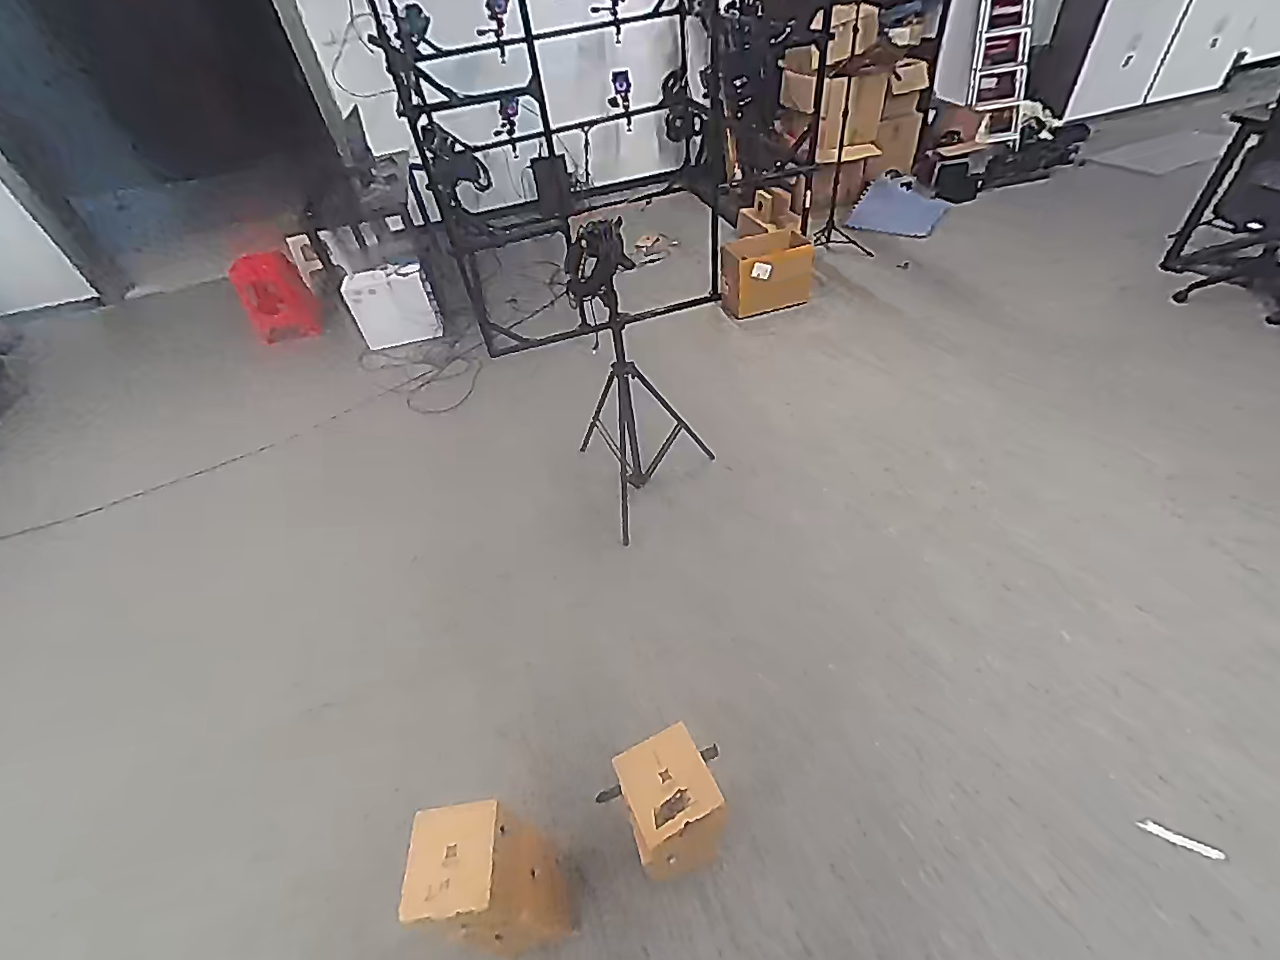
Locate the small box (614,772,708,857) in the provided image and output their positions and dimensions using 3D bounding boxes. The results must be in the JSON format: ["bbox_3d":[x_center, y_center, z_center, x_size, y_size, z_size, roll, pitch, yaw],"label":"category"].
[{"bbox_3d":[0.042,0.690,1.193,0.168,0.176,0.179,-17,45,-9],"label":"small box"}]

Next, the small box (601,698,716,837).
[{"bbox_3d":[0.040,0.576,1.073,0.168,0.176,0.179,-23,47,-14],"label":"small box"}]
